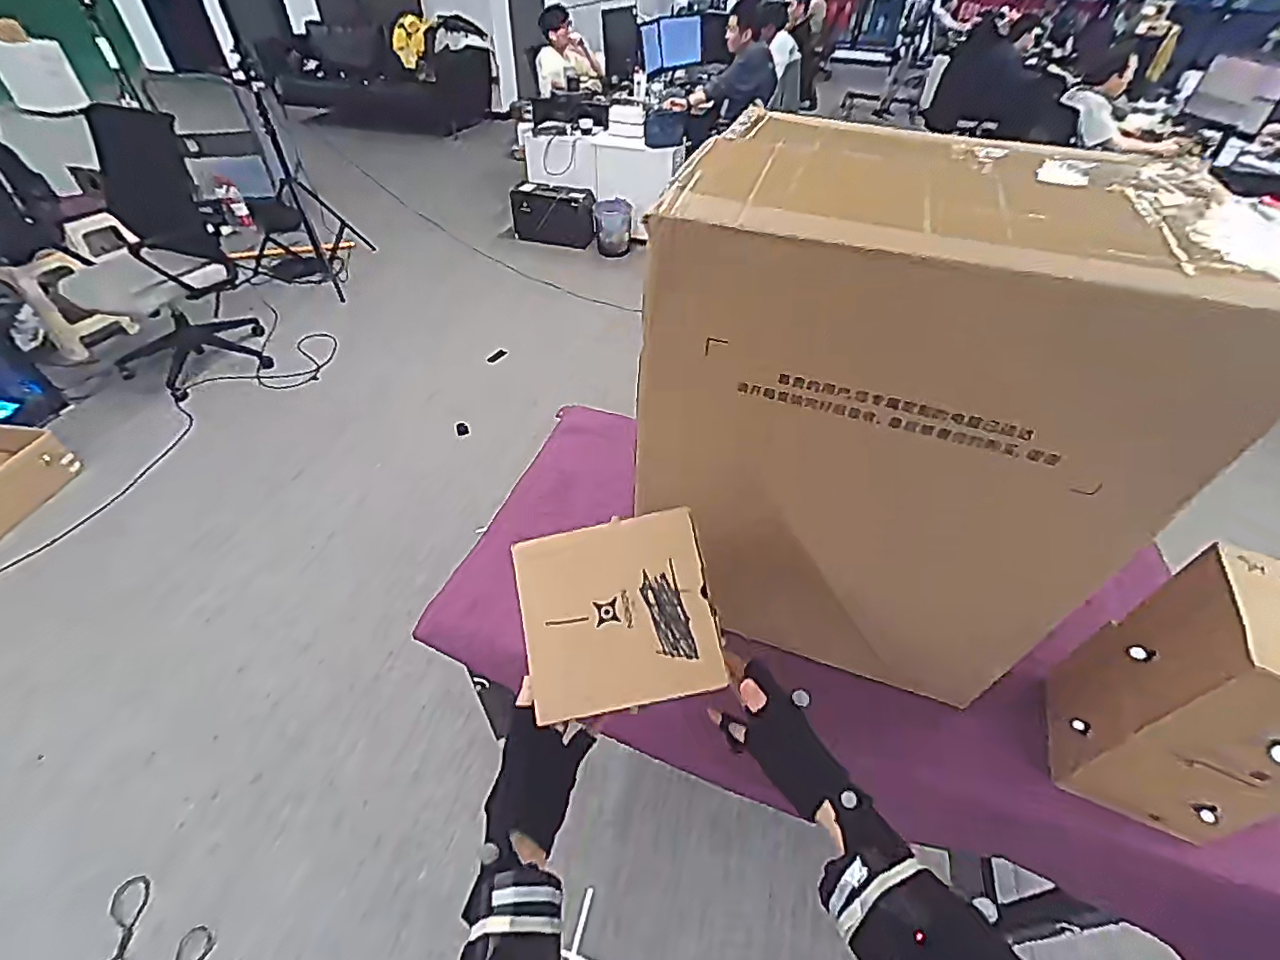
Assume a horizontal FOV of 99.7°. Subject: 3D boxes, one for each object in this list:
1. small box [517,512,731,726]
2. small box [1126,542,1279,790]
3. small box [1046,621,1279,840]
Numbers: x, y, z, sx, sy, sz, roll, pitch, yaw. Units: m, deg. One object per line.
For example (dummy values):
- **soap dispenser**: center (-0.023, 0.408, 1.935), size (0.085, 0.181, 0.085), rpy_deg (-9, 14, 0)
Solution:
- **small box**: center (-0.014, 0.145, 0.574), size (0.179, 0.176, 0.168), rpy_deg (-13, 73, 1)
- **small box**: center (0.678, 0.206, 0.585), size (0.168, 0.176, 0.179), rpy_deg (22, 48, 18)
- **small box**: center (0.665, 0.324, 0.699), size (0.168, 0.176, 0.179), rpy_deg (19, 45, 16)
